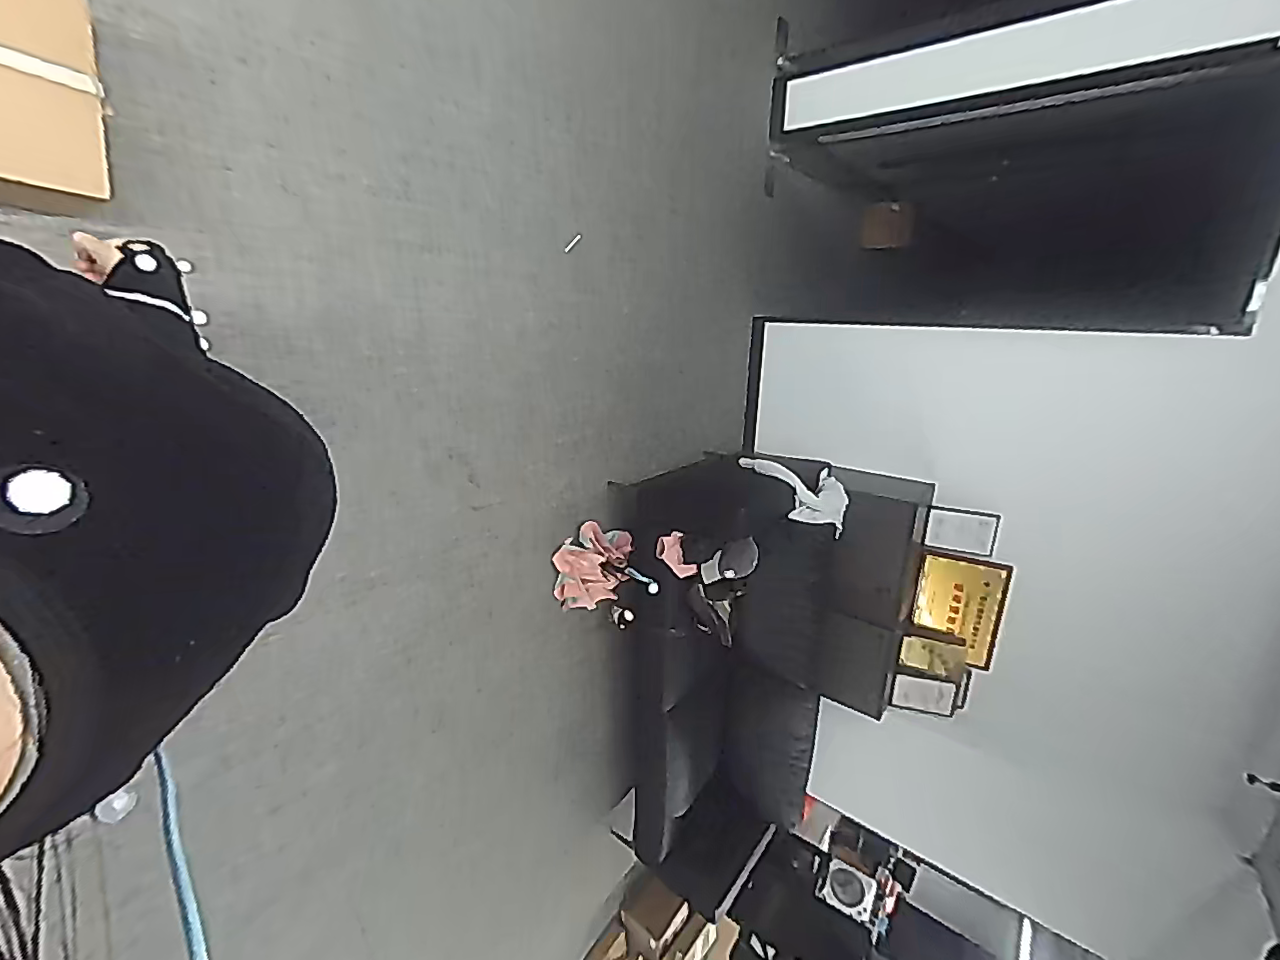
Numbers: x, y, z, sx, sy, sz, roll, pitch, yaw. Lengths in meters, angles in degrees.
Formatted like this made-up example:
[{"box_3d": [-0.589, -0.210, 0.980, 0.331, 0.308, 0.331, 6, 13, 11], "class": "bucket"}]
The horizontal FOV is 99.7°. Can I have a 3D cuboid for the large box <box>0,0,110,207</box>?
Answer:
[{"box_3d": [-1.066, -0.606, 0.761, 0.408, 0.320, 0.320, -10, 109, -51], "class": "large box"}]
